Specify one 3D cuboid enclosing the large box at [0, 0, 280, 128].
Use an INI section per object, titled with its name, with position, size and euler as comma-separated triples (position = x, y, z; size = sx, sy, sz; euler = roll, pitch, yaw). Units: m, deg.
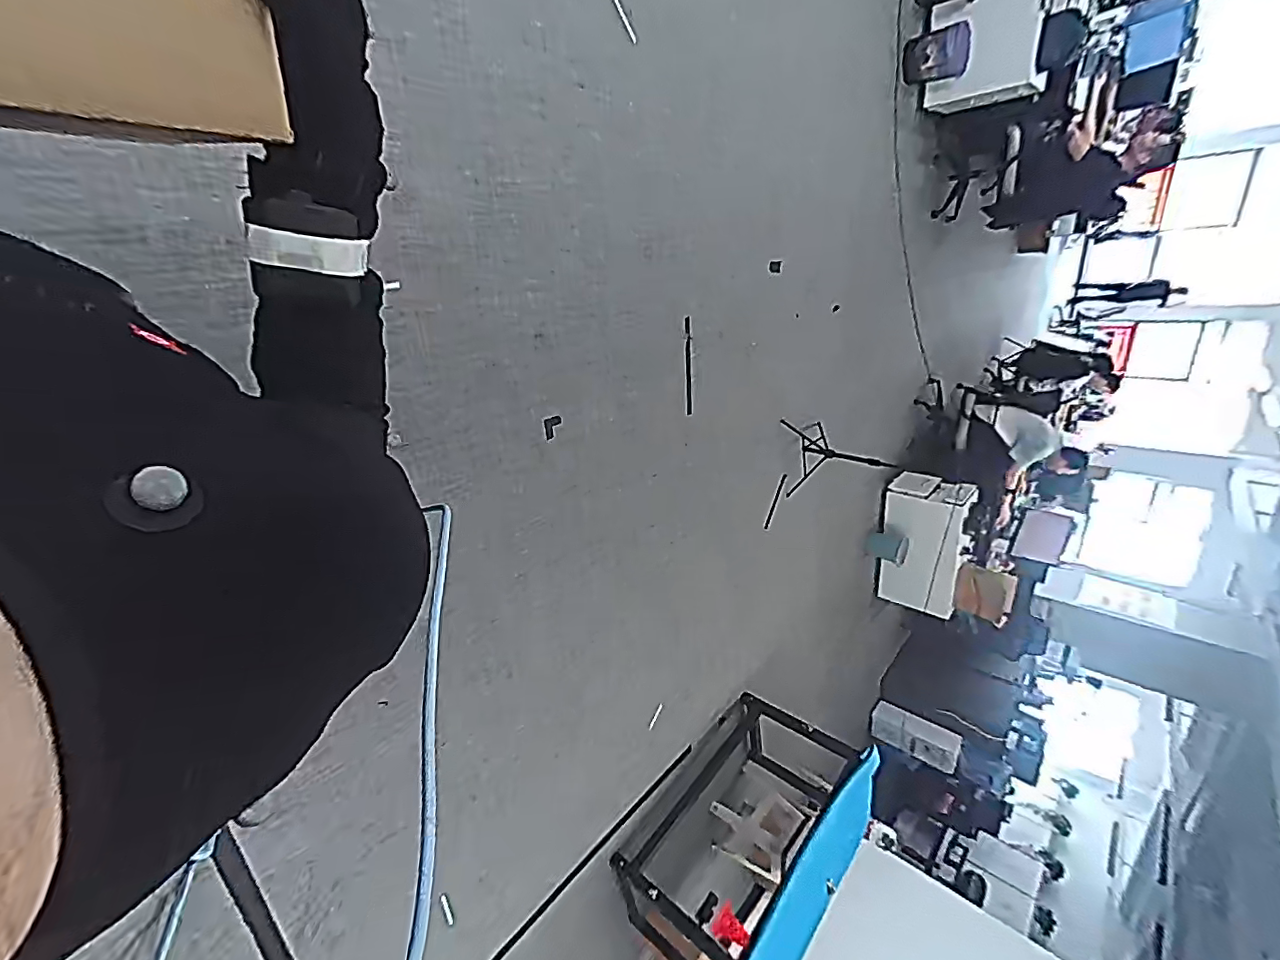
[large box]
position = -0.439, -0.338, 0.198
size = 0.408, 0.320, 0.320
euler = -22, 129, -42
